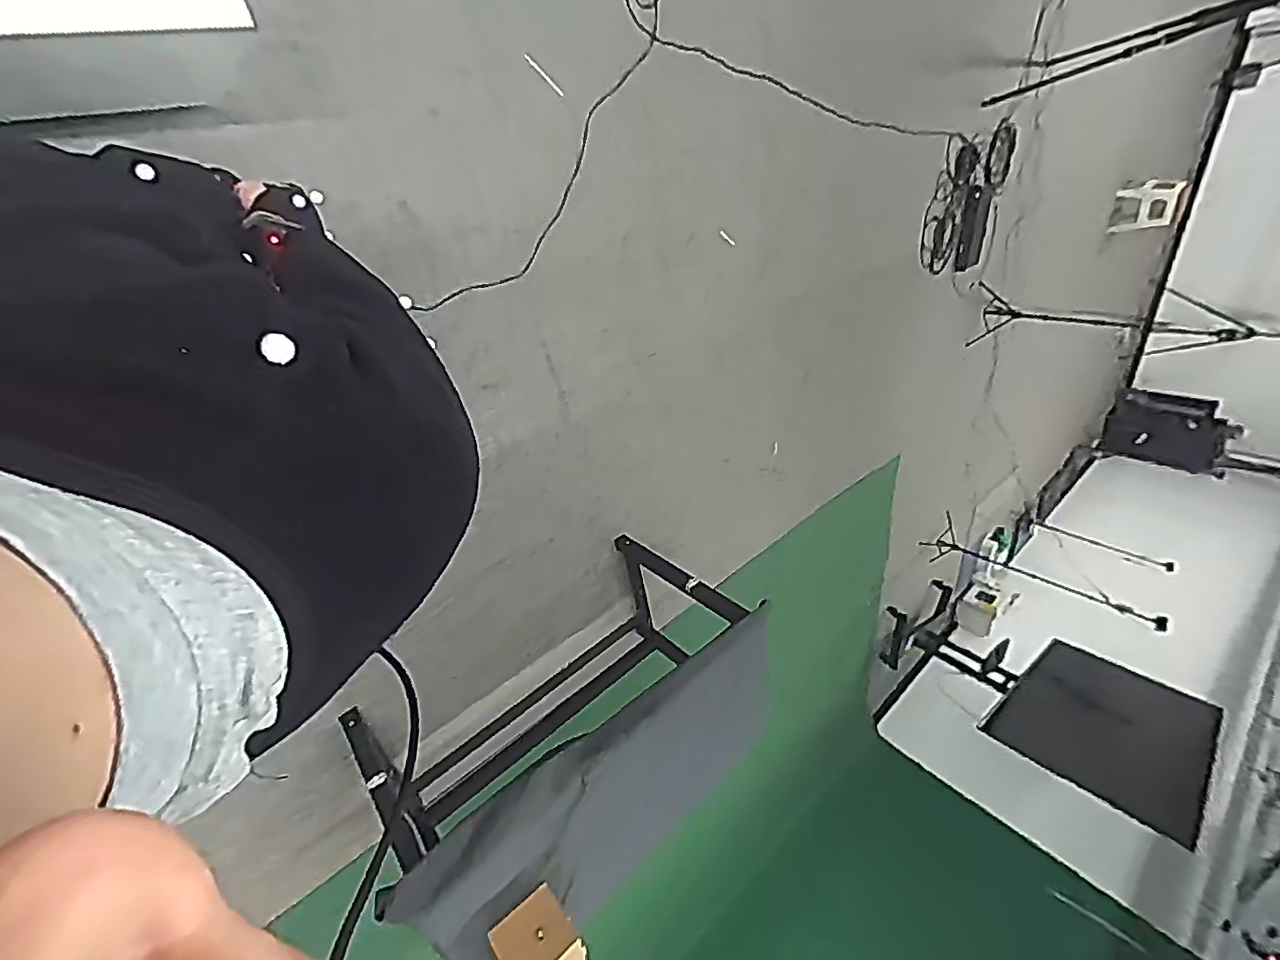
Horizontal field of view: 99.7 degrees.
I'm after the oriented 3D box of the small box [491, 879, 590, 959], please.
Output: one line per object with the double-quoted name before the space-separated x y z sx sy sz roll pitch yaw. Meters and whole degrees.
"small box" -0.256 1.191 1.395 0.179 0.176 0.168 -27 124 -33
